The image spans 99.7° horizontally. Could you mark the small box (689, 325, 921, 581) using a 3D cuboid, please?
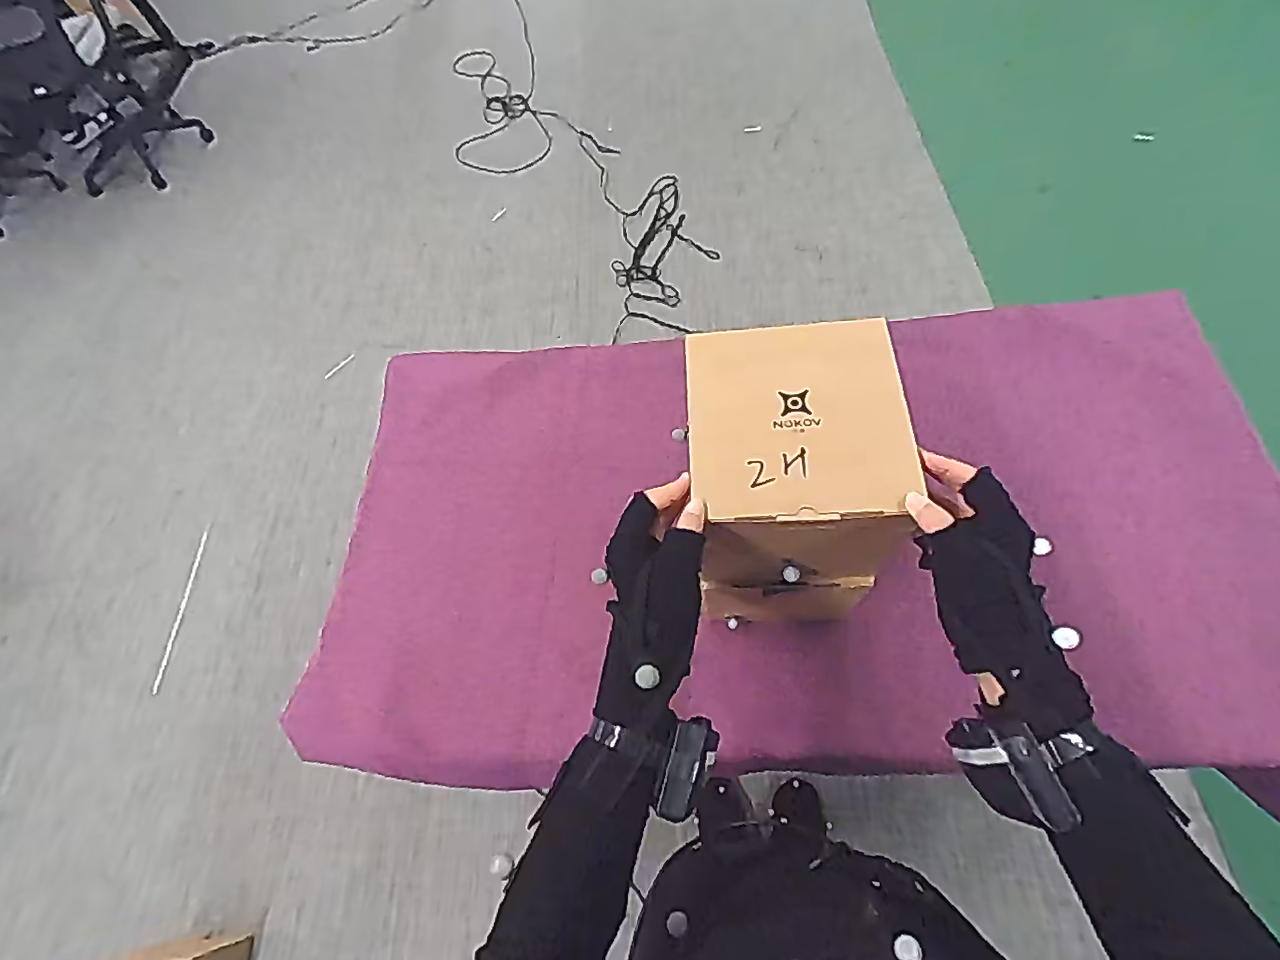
[{"bbox_3d":[0.131,-0.015,0.497,0.168,0.176,0.179,-2,64,8],"label":"small box"}]

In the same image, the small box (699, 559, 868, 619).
[{"bbox_3d":[0.157,0.064,0.640,0.168,0.176,0.179,-2,63,8],"label":"small box"}]
